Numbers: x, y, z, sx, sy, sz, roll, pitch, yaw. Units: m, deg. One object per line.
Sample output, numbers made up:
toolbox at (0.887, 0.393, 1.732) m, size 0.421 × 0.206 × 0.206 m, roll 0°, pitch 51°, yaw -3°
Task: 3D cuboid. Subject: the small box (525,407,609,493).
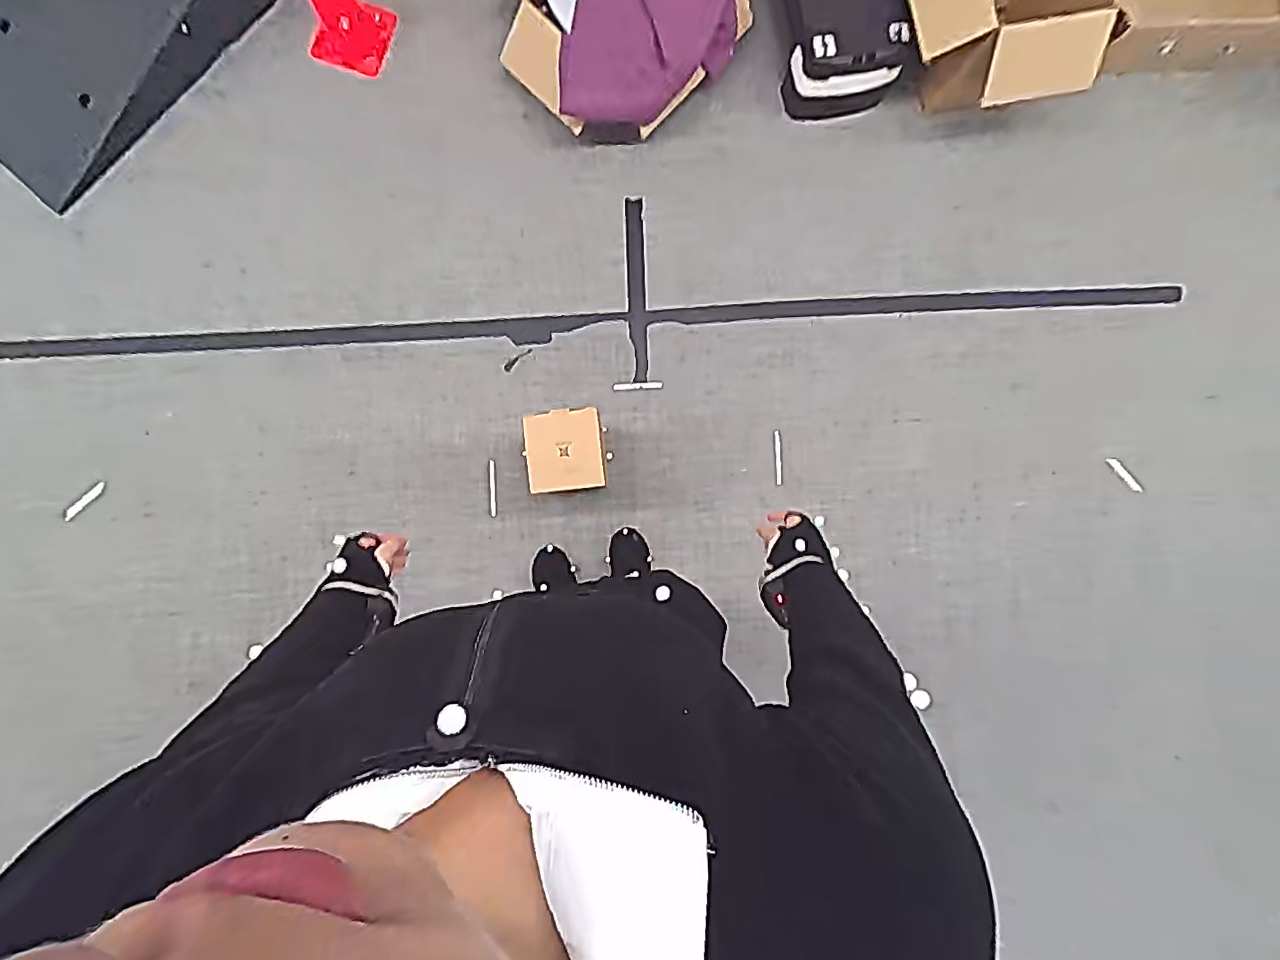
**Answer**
small box at (-0.164, -0.064, 1.260) m, size 0.168 × 0.176 × 0.179 m, roll -7°, pitch 90°, yaw 0°
